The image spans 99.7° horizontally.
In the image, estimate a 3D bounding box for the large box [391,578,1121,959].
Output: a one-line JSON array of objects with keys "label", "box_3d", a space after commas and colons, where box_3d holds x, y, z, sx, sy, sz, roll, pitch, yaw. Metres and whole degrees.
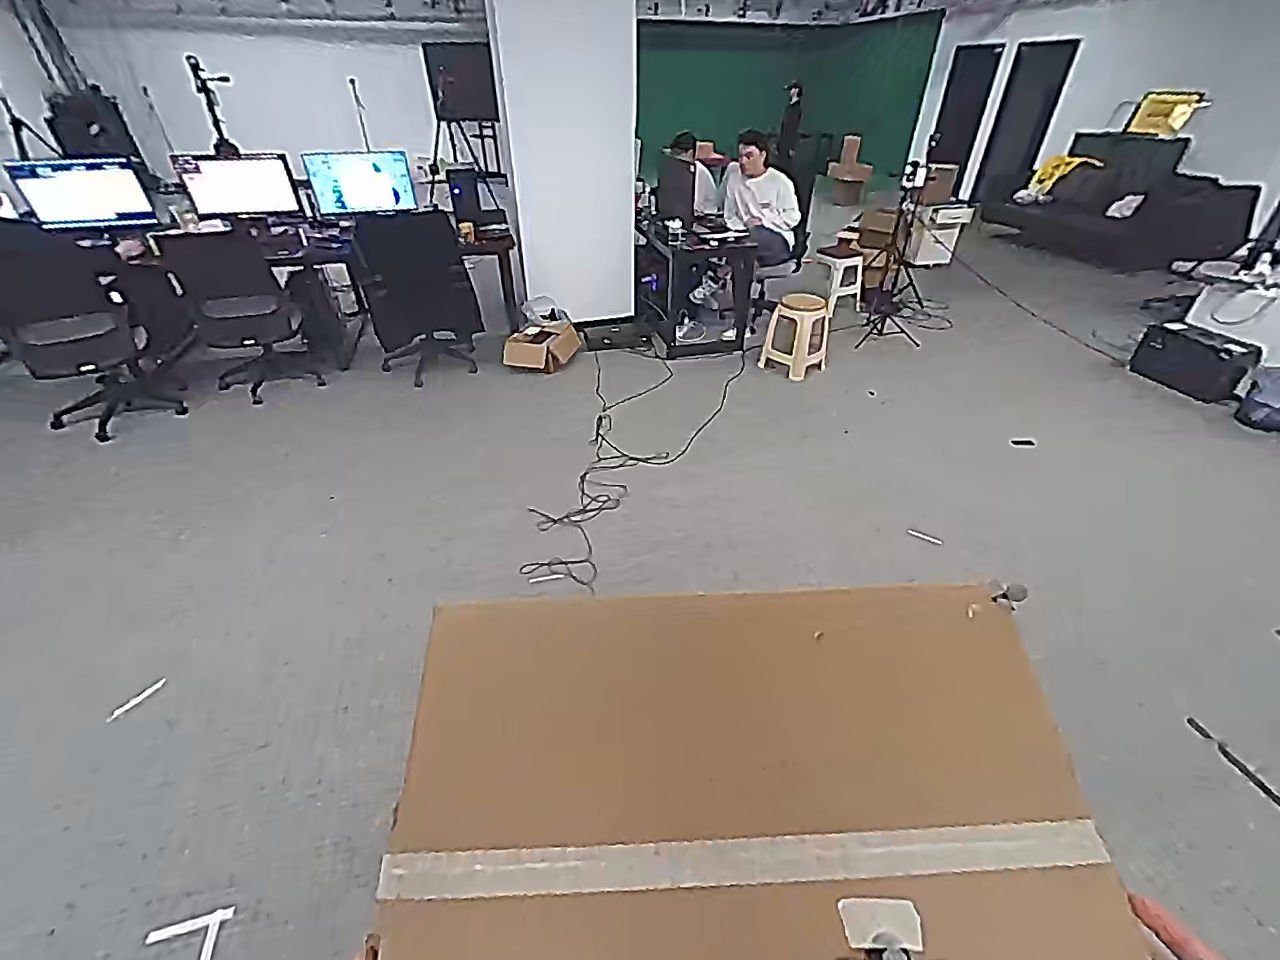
[{"label": "large box", "box_3d": [0.058, 0.289, 0.449, 0.408, 0.320, 0.320, -2, 61, -1]}]
